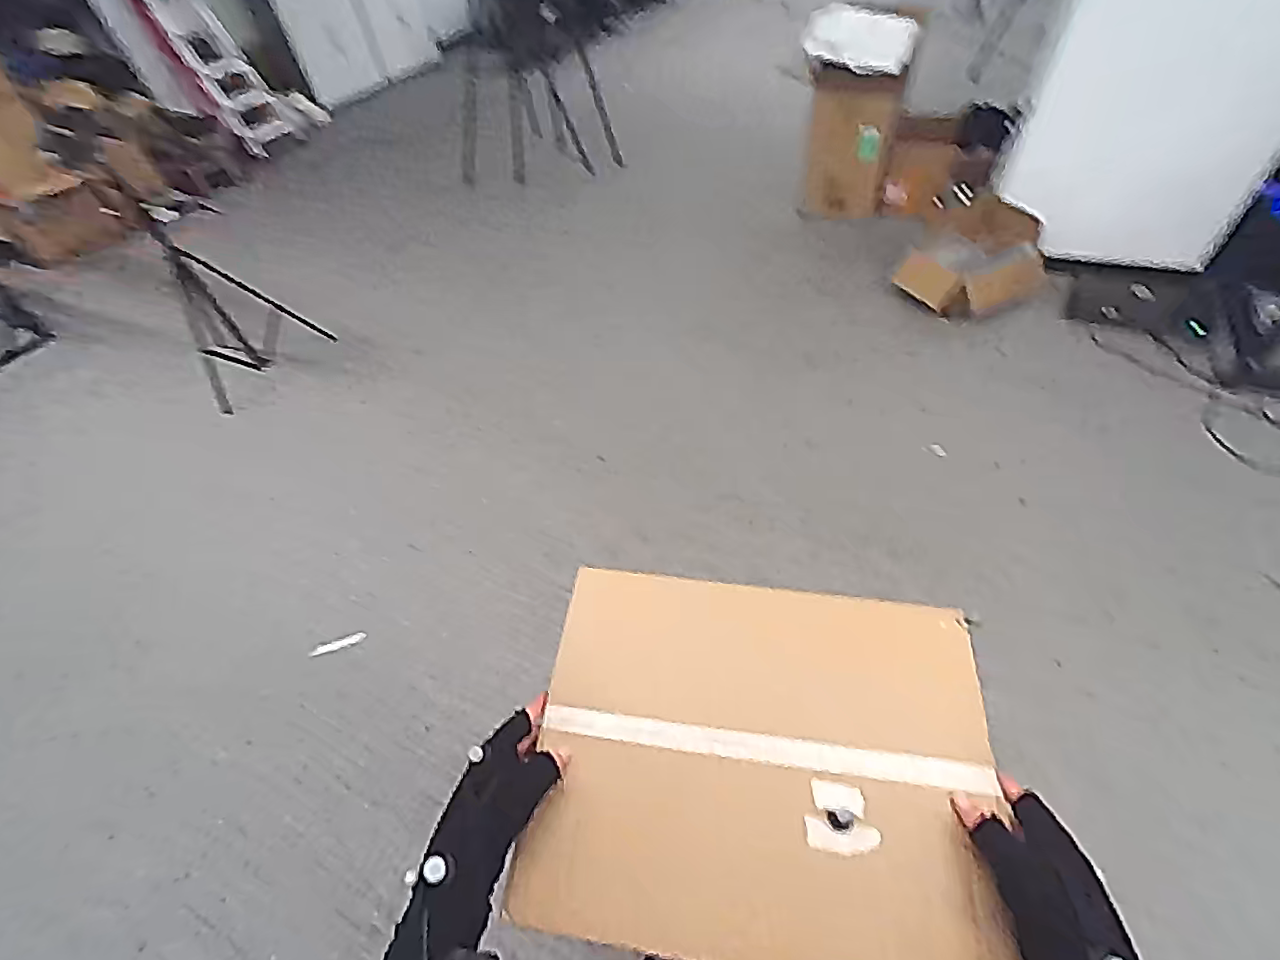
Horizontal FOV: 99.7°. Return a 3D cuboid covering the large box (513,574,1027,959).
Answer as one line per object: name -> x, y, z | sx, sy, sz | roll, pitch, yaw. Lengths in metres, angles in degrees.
large box -> 0.114, 0.328, 0.618 | 0.408, 0.320, 0.320 | 5, 56, 6
